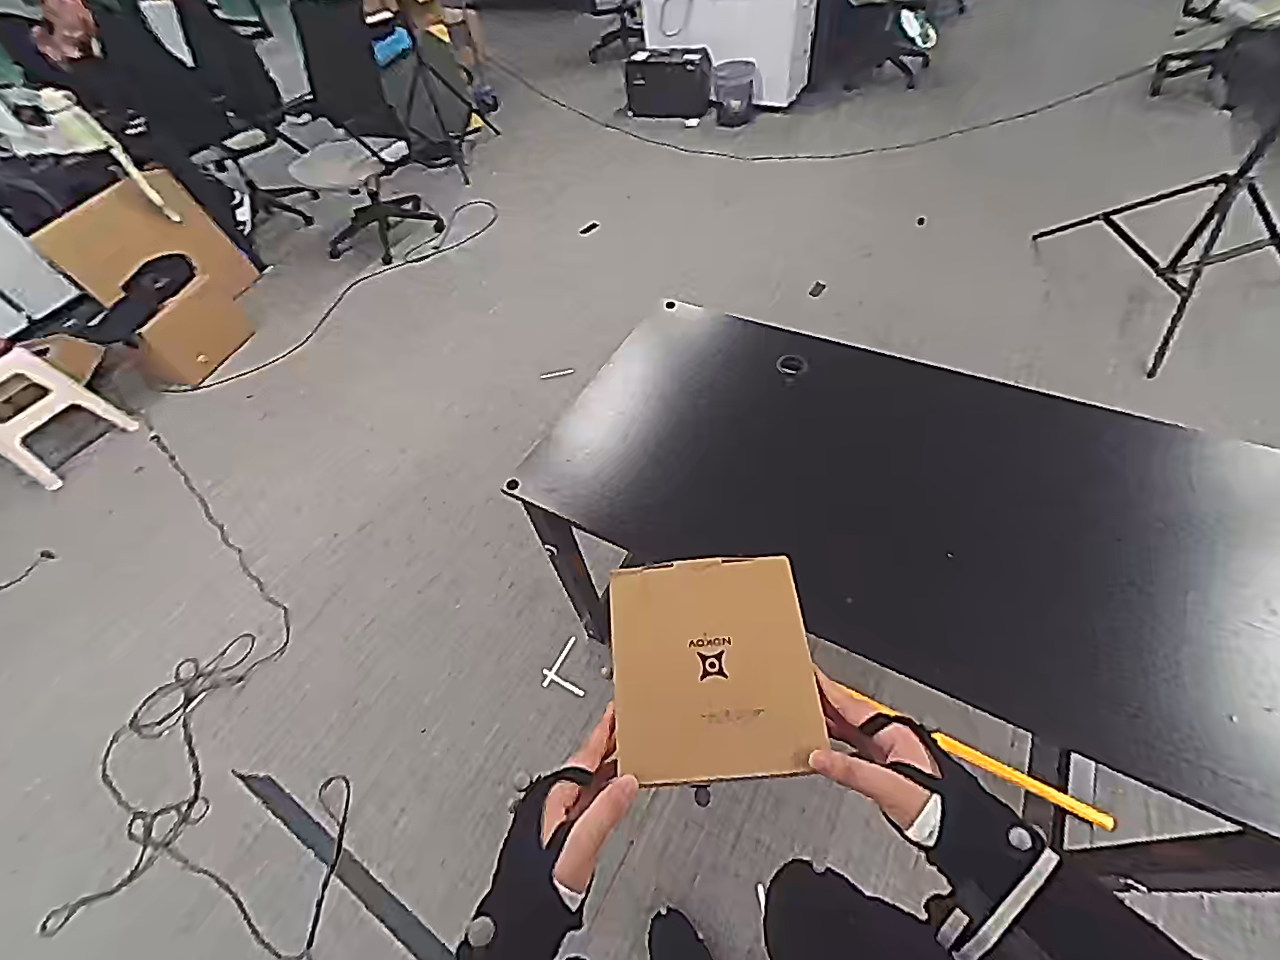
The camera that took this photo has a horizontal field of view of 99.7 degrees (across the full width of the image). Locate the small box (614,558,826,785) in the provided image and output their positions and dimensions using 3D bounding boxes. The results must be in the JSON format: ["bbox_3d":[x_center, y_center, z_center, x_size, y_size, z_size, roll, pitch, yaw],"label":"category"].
[{"bbox_3d":[0.061,0.192,0.528,0.168,0.176,0.179,-4,59,0],"label":"small box"}]
